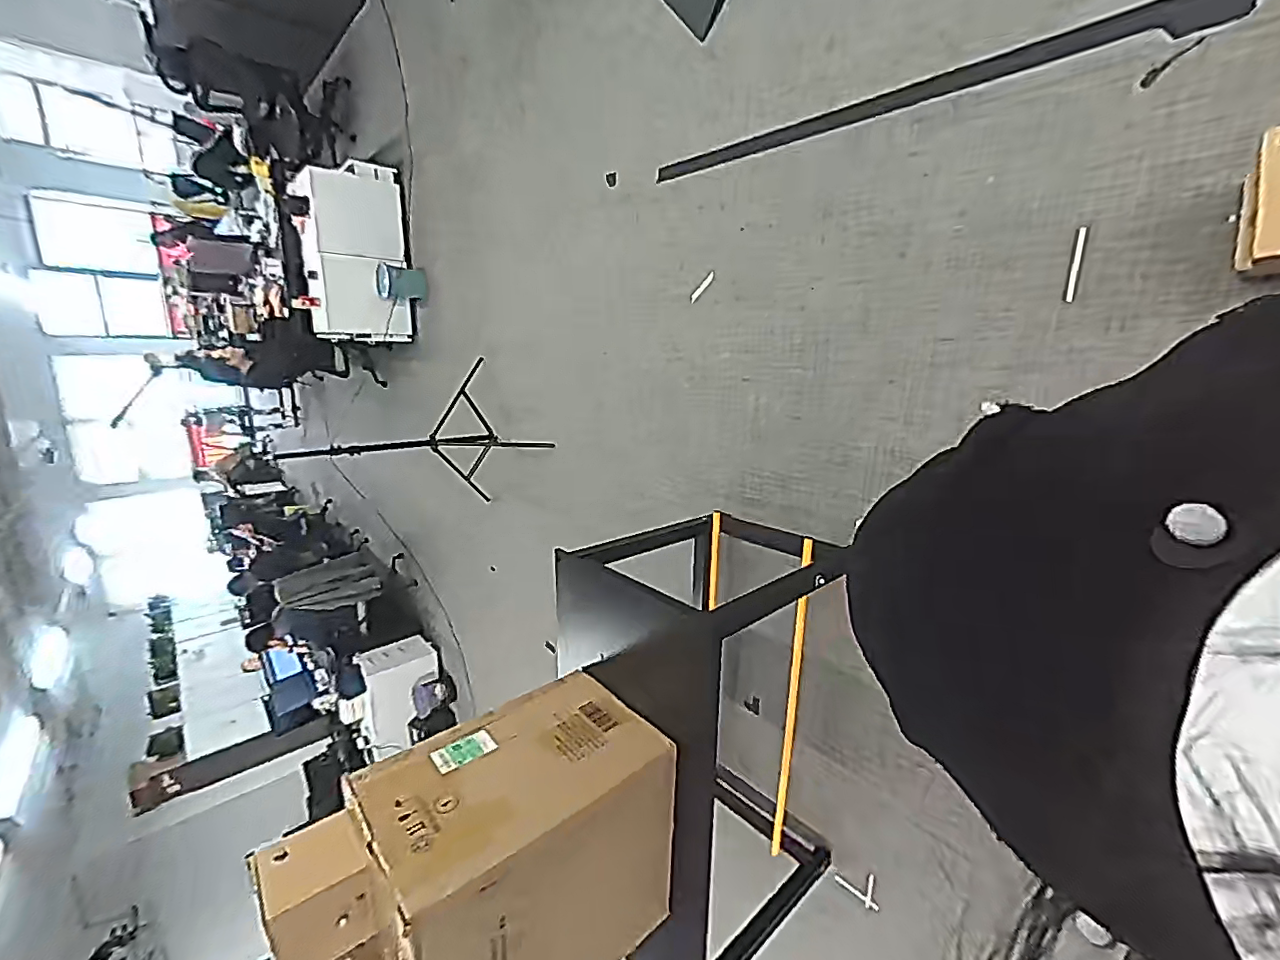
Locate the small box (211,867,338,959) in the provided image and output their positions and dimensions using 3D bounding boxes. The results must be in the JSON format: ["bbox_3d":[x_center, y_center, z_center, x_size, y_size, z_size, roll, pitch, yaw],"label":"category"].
[{"bbox_3d":[-0.662,0.859,0.988,0.179,0.176,0.168,15,111,48],"label":"small box"}]

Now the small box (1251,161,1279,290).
[{"bbox_3d":[1.055,-0.394,0.815,0.168,0.176,0.179,7,105,49],"label":"small box"}]

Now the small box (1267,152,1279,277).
[{"bbox_3d":[0.944,-0.365,0.695,0.168,0.176,0.179,5,103,49],"label":"small box"}]
